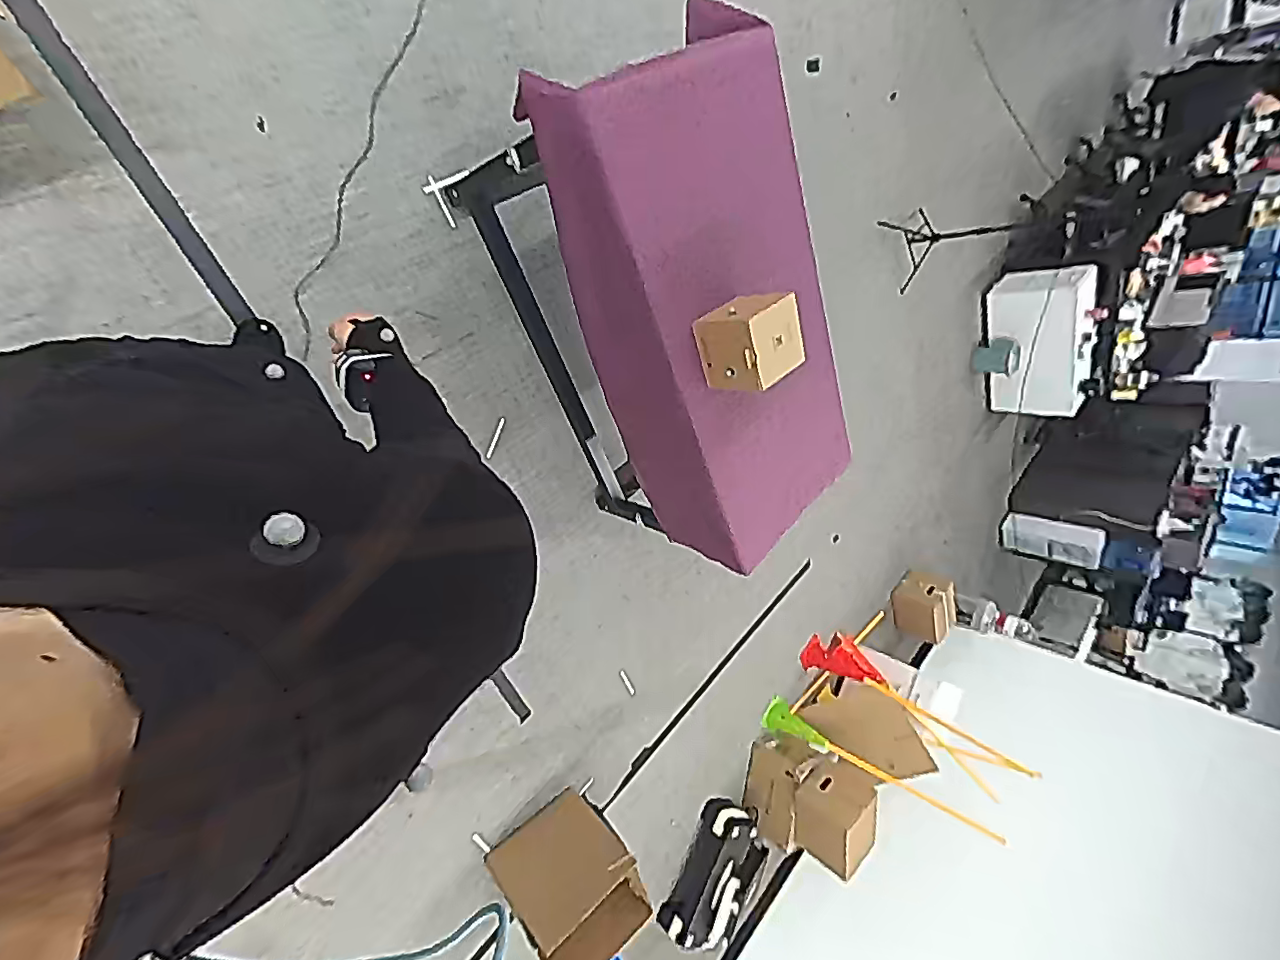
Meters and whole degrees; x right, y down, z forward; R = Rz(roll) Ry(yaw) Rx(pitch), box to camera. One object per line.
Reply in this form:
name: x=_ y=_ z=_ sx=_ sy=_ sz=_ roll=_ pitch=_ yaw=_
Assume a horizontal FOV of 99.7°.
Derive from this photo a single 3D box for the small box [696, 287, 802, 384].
small box: x=0.249 y=-0.336 z=1.264 sx=0.179 sy=0.176 sz=0.168 roll=-37 pitch=123 yaw=-29
